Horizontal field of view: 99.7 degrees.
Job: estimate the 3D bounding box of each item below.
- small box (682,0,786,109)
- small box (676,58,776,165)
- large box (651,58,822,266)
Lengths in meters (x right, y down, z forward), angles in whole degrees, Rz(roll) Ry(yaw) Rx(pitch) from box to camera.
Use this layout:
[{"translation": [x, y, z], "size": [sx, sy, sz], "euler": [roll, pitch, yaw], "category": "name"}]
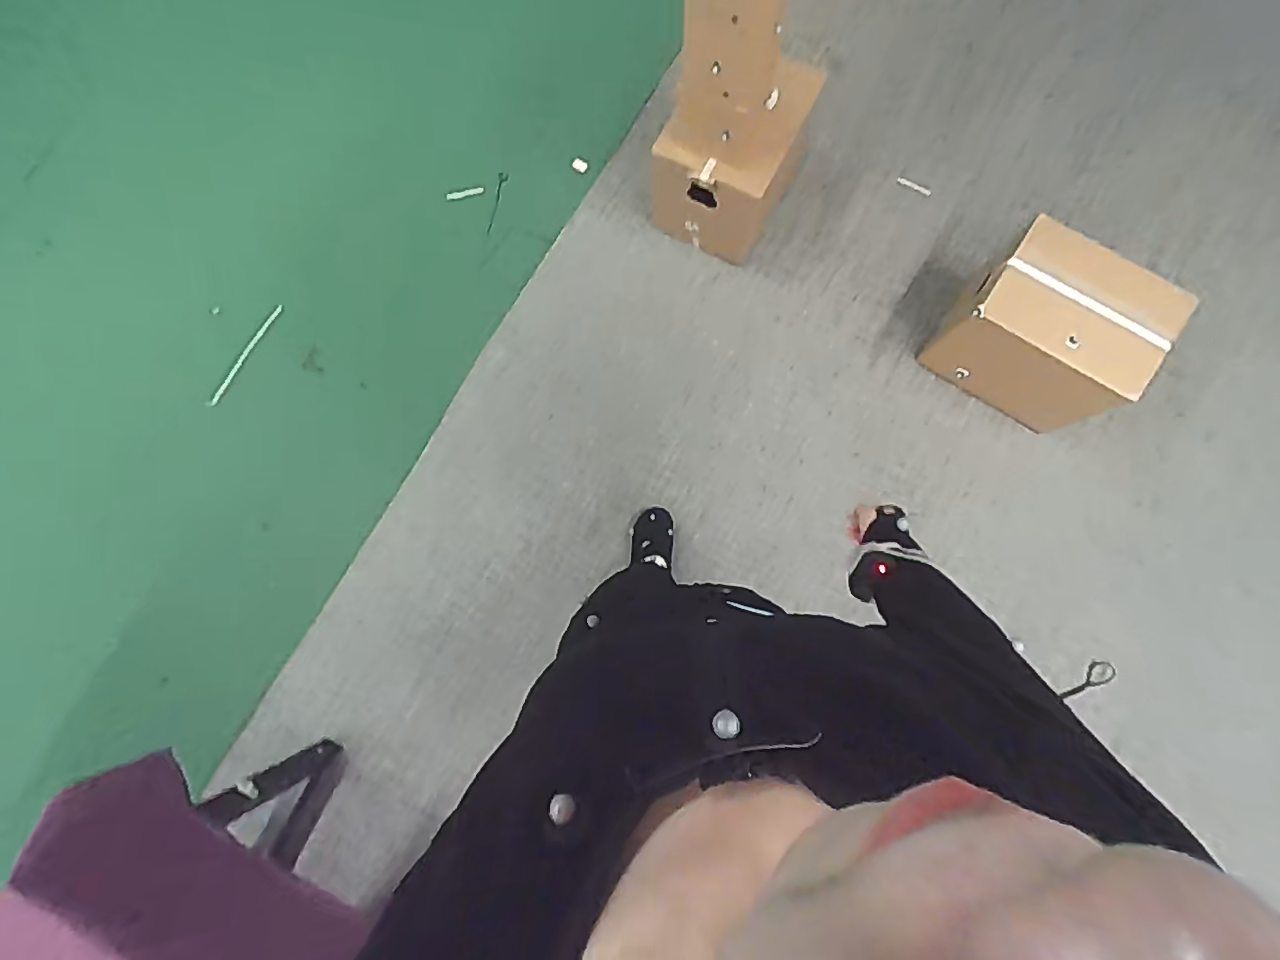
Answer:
[{"translation": [0.194, -0.928, 1.128], "size": [0.168, 0.176, 0.179], "euler": [23, 81, 6], "category": "small box"}, {"translation": [0.197, -0.895, 1.288], "size": [0.179, 0.176, 0.168], "euler": [27, 82, 7], "category": "small box"}, {"translation": [0.256, -0.907, 1.535], "size": [0.320, 0.320, 0.408], "euler": [28, 82, 6], "category": "large box"}]
